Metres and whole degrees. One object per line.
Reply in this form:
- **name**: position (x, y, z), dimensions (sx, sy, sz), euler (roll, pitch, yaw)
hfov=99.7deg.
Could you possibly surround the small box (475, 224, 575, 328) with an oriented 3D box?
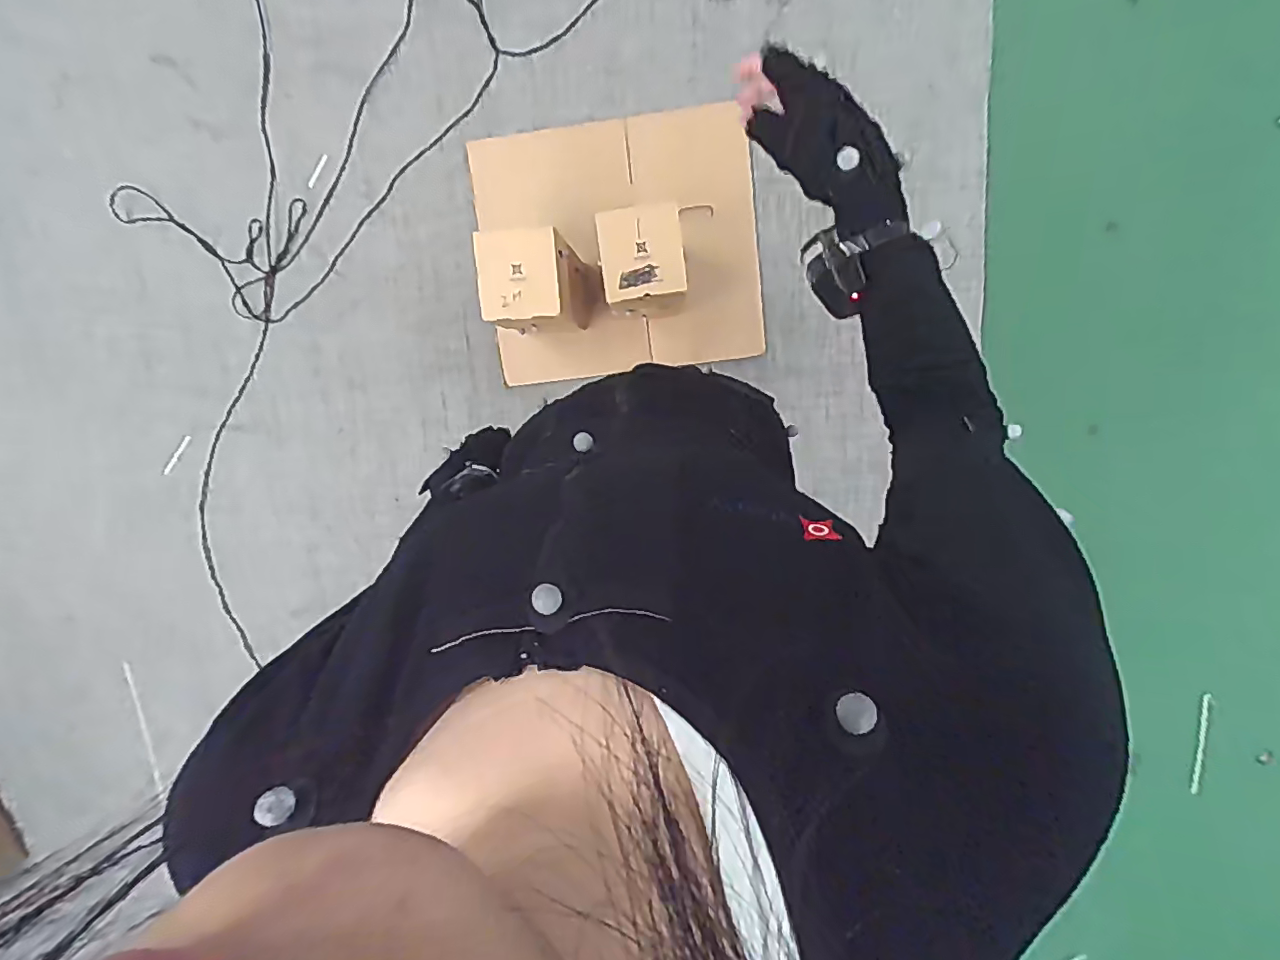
- **small box**: position (-0.238, -0.427, 1.158), dimensions (0.168, 0.176, 0.179), euler (-3, 101, 4)

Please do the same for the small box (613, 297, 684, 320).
- **small box**: position (0.012, -0.492, 1.304), dimensions (0.168, 0.176, 0.179), euler (-7, 101, 4)

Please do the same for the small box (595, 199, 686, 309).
- **small box**: position (0.007, -0.465, 1.141), dimensions (0.168, 0.176, 0.179), euler (-8, 100, 4)
